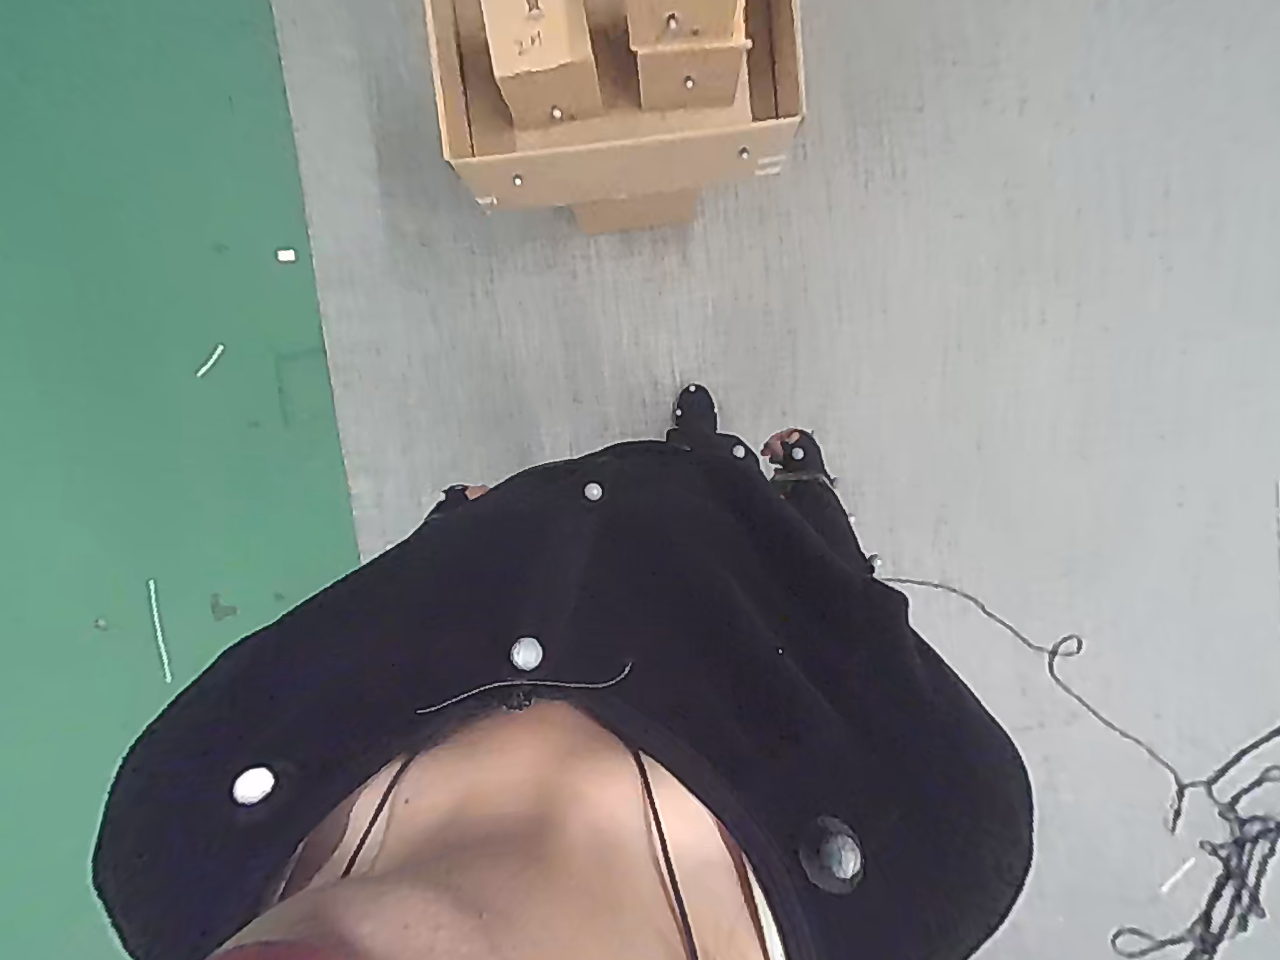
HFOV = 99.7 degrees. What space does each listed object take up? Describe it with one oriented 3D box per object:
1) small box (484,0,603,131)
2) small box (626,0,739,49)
[{"bbox_3d":[-0.164,-0.757,0.945,0.168,0.176,0.179,-9,95,3],"label":"small box"},{"bbox_3d":[0.059,-0.771,0.773,0.168,0.176,0.179,-2,95,4],"label":"small box"}]
